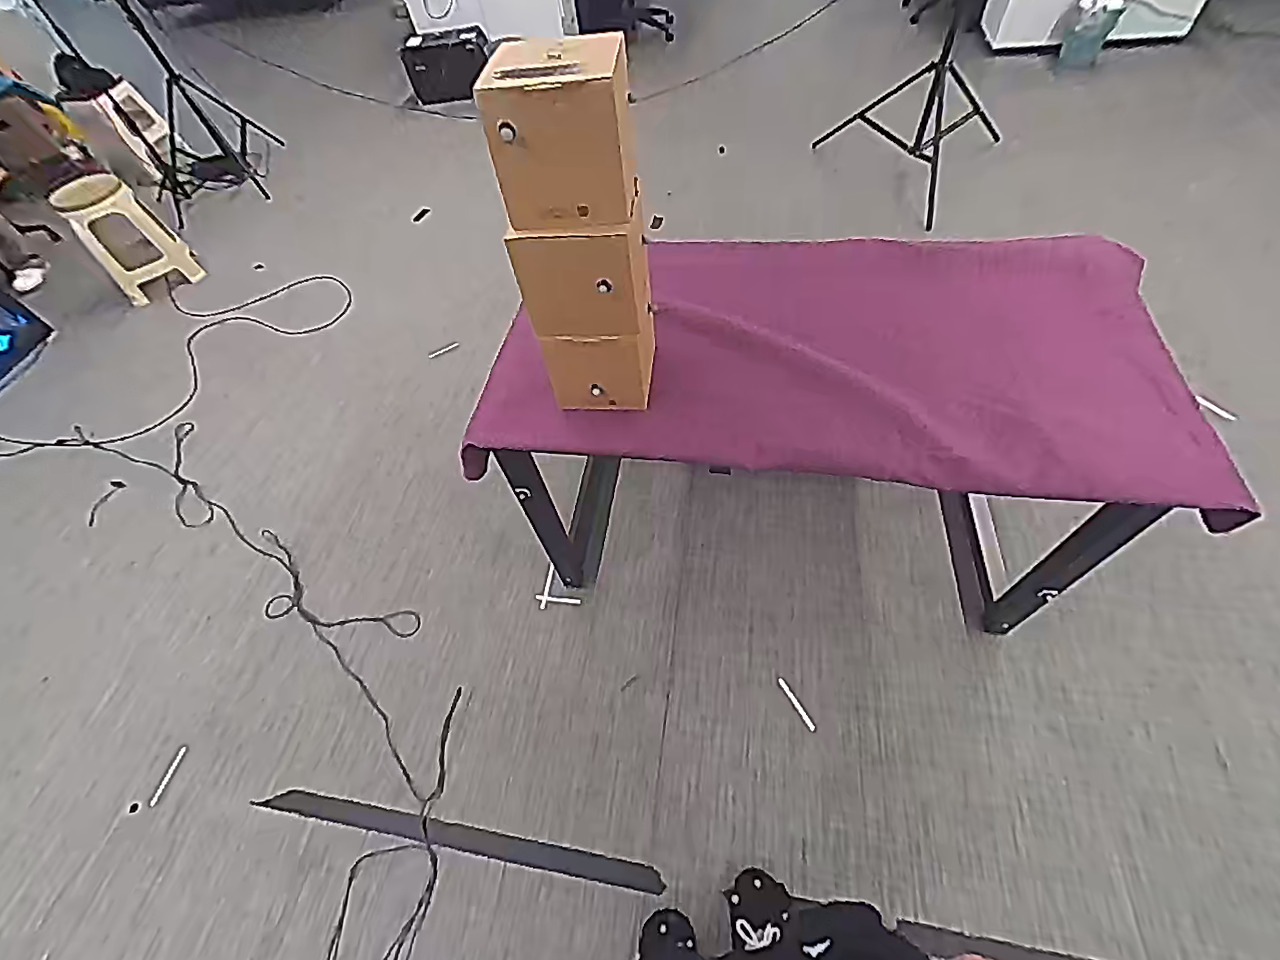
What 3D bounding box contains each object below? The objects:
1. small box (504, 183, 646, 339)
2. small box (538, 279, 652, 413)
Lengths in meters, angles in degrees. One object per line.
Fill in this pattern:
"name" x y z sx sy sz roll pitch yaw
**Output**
"small box" -0.088 -0.337 0.848 0.179 0.176 0.168 0 53 8
"small box" -0.071 -0.243 0.978 0.168 0.176 0.179 2 55 9
